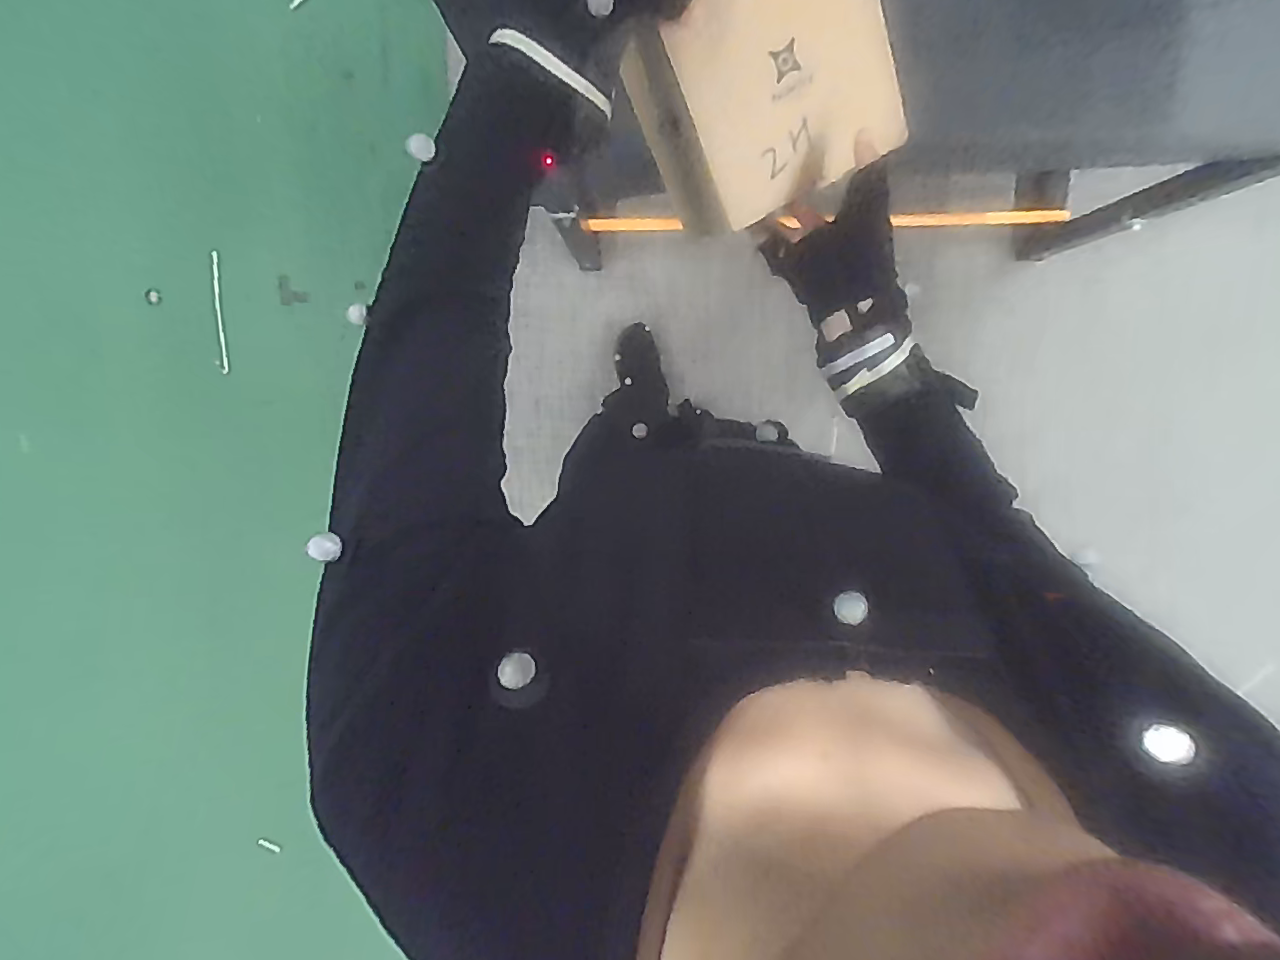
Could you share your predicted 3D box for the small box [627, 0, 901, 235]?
[{"bbox_3d":[0.100,-0.346,0.498,0.168,0.176,0.179,-27,114,3],"label":"small box"}]
